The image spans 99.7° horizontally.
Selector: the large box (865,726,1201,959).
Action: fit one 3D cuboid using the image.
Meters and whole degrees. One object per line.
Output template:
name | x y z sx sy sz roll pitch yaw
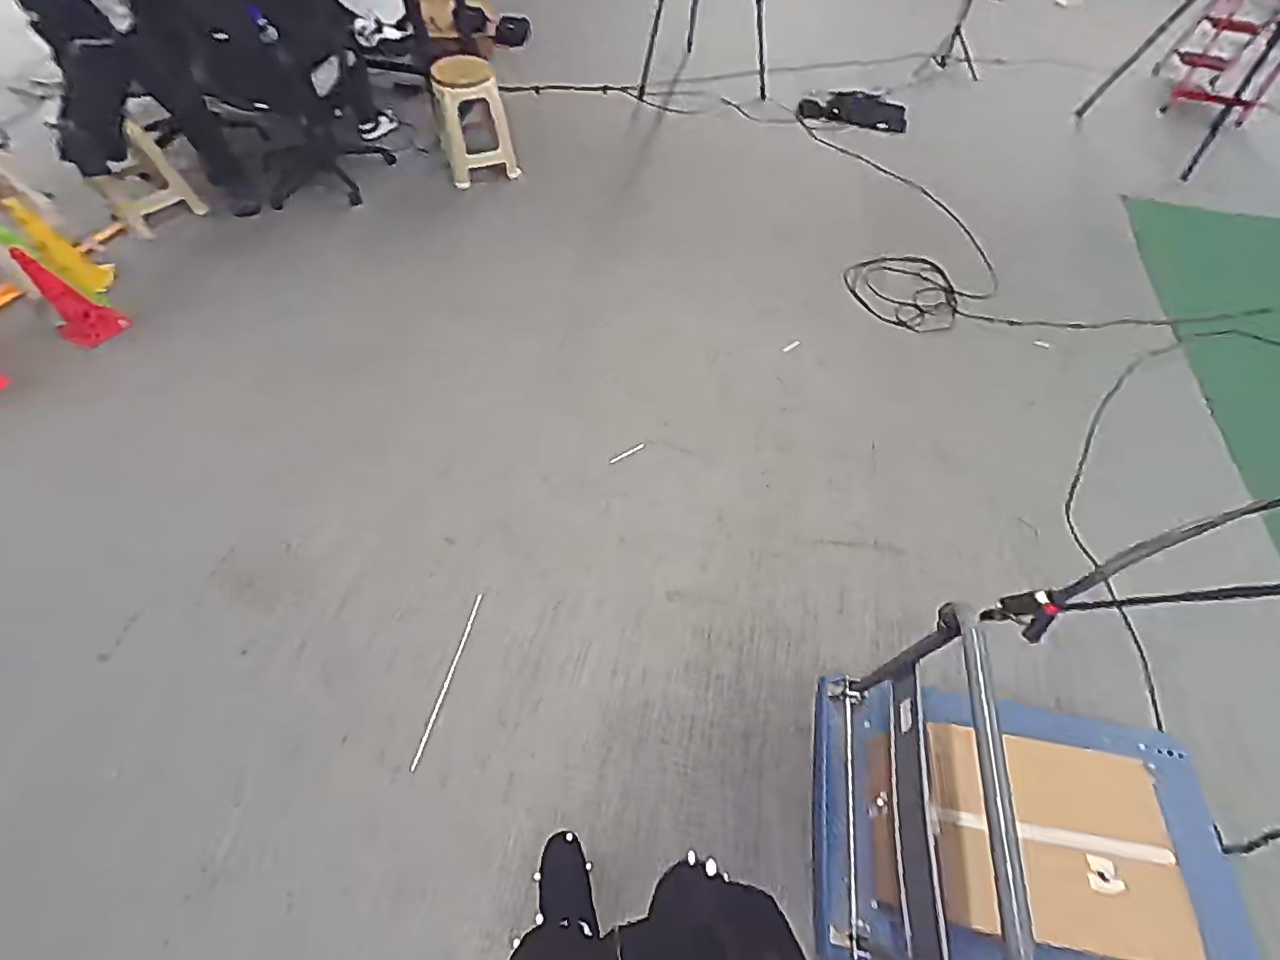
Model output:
large box | 0.707 0.704 1.061 0.408 0.320 0.320 10 58 4
